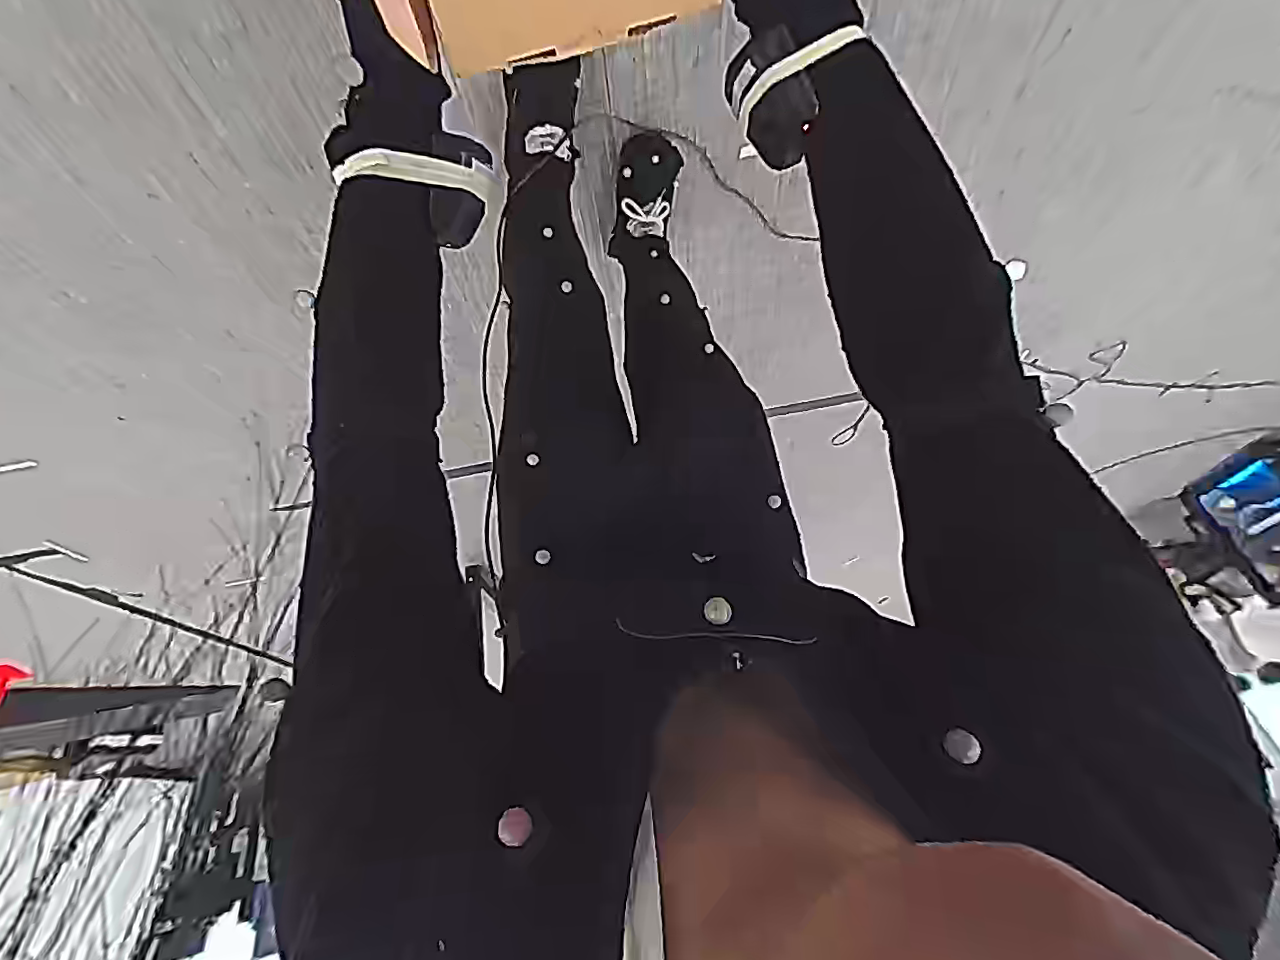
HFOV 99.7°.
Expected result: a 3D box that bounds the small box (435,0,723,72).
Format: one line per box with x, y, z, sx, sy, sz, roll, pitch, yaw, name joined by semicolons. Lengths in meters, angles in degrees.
-0.056;-0.371;0.293;0.168;0.176;0.179;-16;144;1;small box
